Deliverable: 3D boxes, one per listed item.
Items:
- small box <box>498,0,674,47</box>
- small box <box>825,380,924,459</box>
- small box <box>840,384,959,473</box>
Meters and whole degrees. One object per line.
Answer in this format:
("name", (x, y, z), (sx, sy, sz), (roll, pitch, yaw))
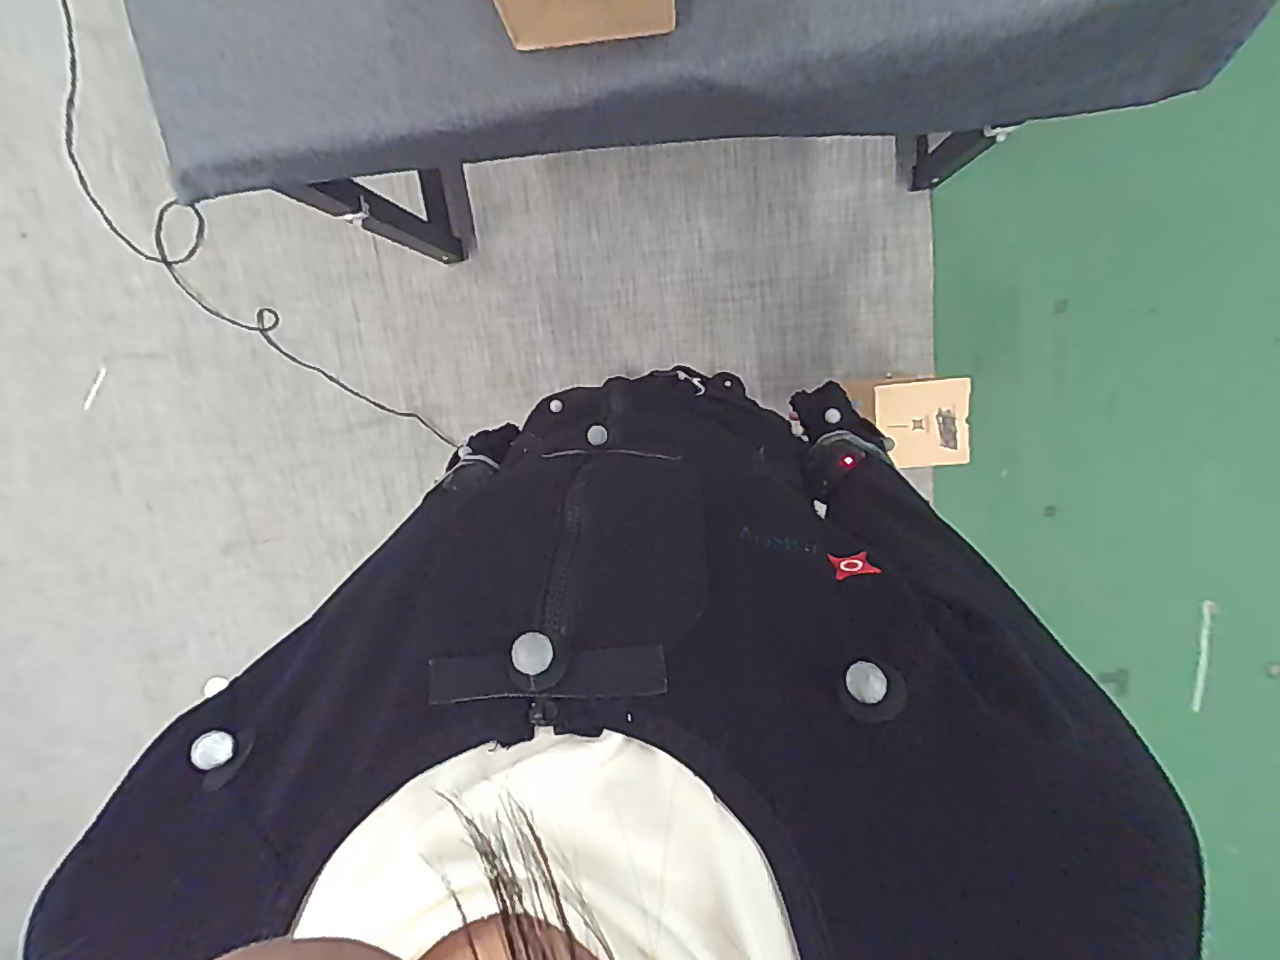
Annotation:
("small box", (-0.061, -0.541, 0.498), (0.179, 0.176, 0.168), (-3, 100, 4))
("small box", (0.552, -0.145, 1.282), (0.179, 0.176, 0.168), (-6, 100, 6))
("small box", (0.529, -0.112, 1.122), (0.179, 0.176, 0.168), (-3, 100, 6))
